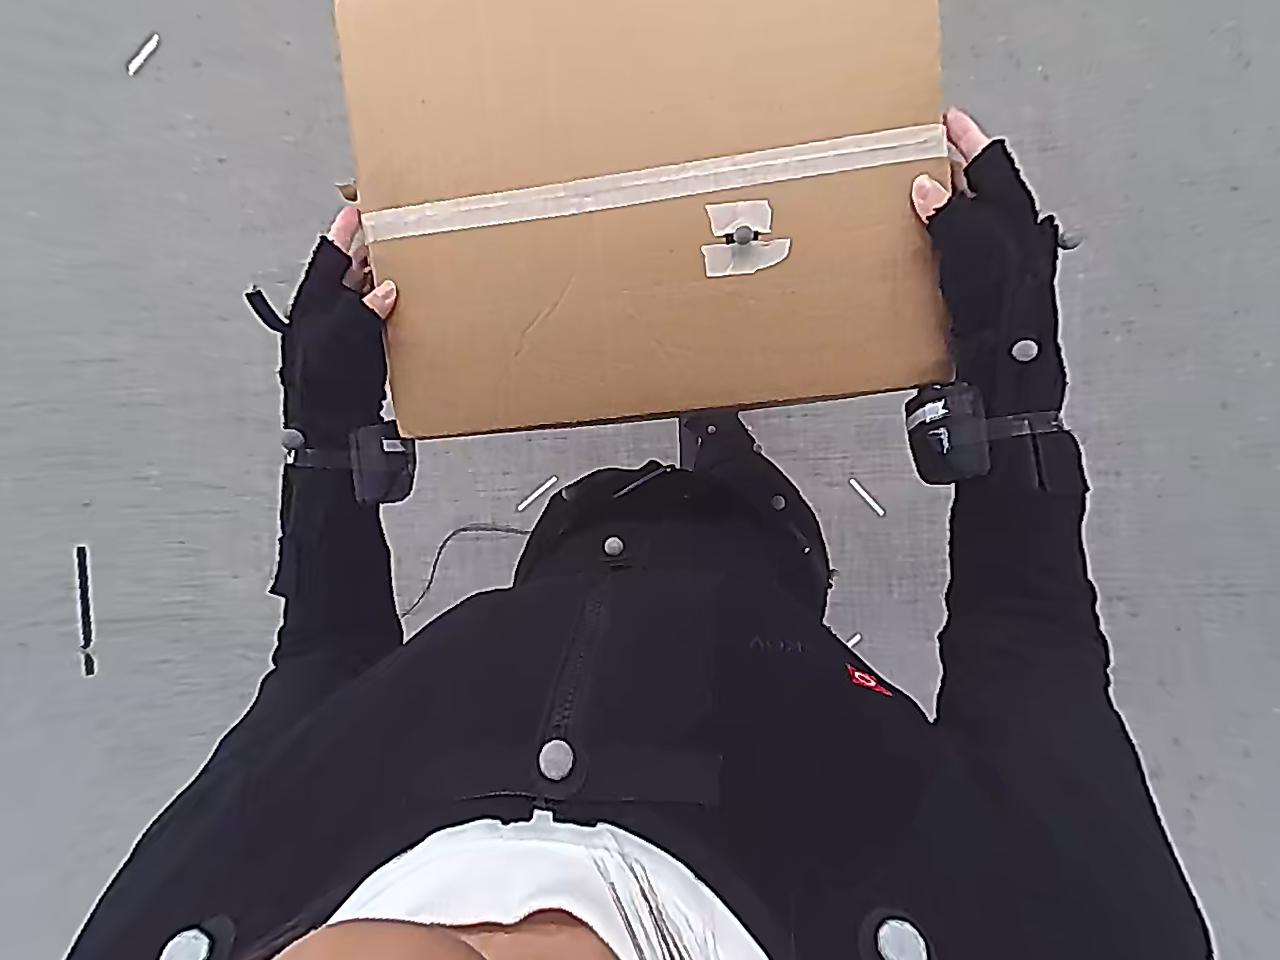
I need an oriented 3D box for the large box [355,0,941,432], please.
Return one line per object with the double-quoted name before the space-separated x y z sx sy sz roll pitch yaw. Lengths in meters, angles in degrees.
"large box" 0.013 -0.227 0.539 0.408 0.320 0.320 -6 96 5
